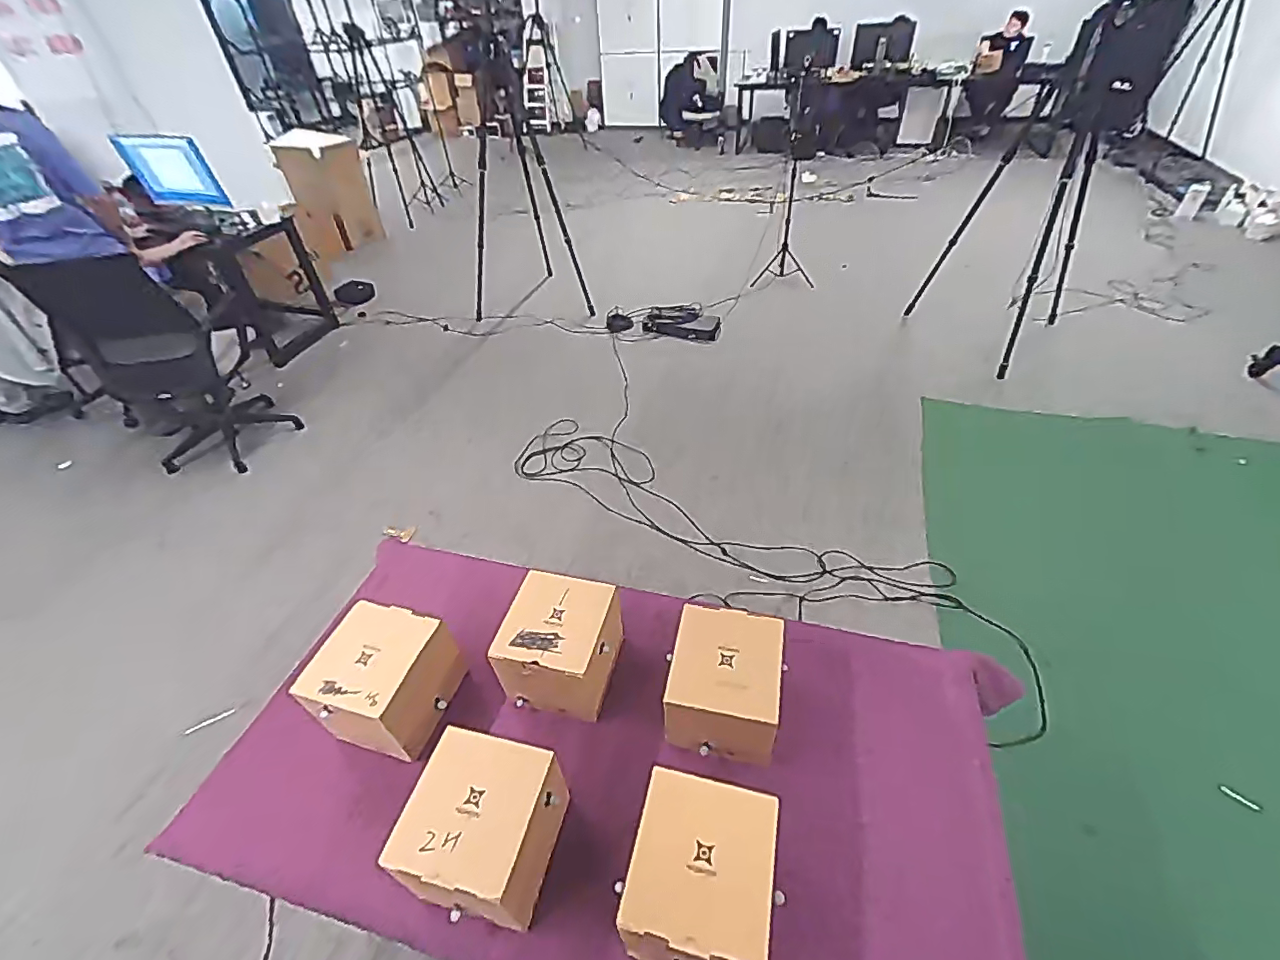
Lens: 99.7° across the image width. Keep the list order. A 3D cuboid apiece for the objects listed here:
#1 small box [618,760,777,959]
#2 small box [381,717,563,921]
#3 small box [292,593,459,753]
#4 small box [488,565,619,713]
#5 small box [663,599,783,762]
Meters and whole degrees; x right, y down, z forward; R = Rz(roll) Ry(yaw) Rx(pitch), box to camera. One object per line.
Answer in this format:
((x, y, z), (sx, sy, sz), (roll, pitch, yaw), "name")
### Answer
((0.076, 0.502, 0.697), (0.168, 0.176, 0.179), (9, 44, 13), "small box")
((-0.214, 0.467, 0.750), (0.168, 0.176, 0.179), (8, 43, 13), "small box")
((-0.429, 0.326, 0.917), (0.168, 0.176, 0.179), (9, 43, 15), "small box")
((-0.138, 0.281, 0.951), (0.168, 0.176, 0.179), (9, 43, 13), "small box")
((0.135, 0.327, 0.885), (0.168, 0.176, 0.179), (7, 45, 13), "small box")
